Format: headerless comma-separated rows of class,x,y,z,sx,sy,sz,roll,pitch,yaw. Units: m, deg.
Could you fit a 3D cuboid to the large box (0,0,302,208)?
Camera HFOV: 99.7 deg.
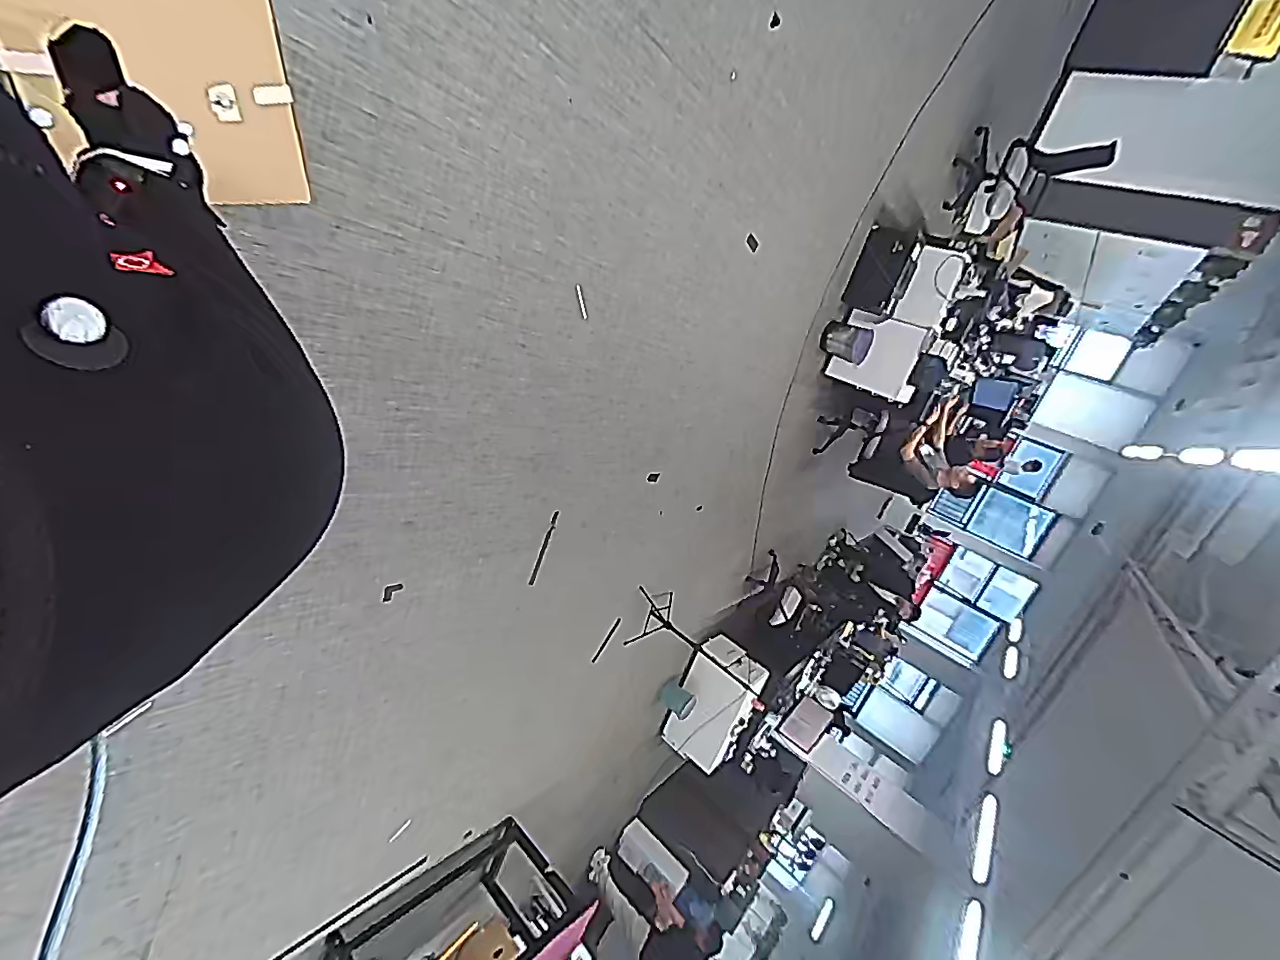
large box,-0.800,-0.628,0.855,0.320,0.408,0.320,-25,133,-39
